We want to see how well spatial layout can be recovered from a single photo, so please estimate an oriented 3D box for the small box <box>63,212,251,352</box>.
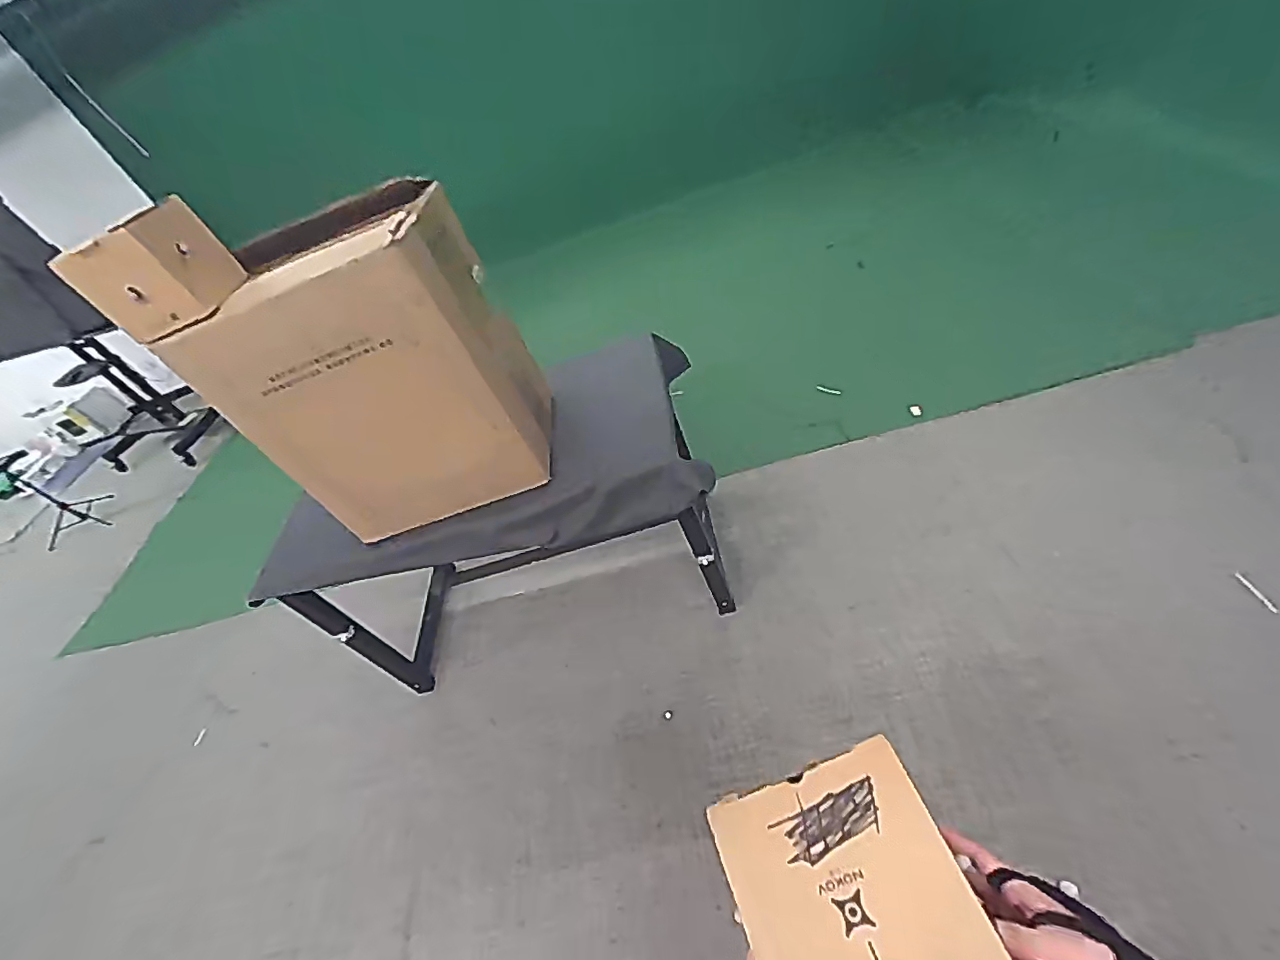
[{"bbox_3d":[-0.886,-0.363,1.016,0.168,0.176,0.179,-20,43,10],"label":"small box"}]
